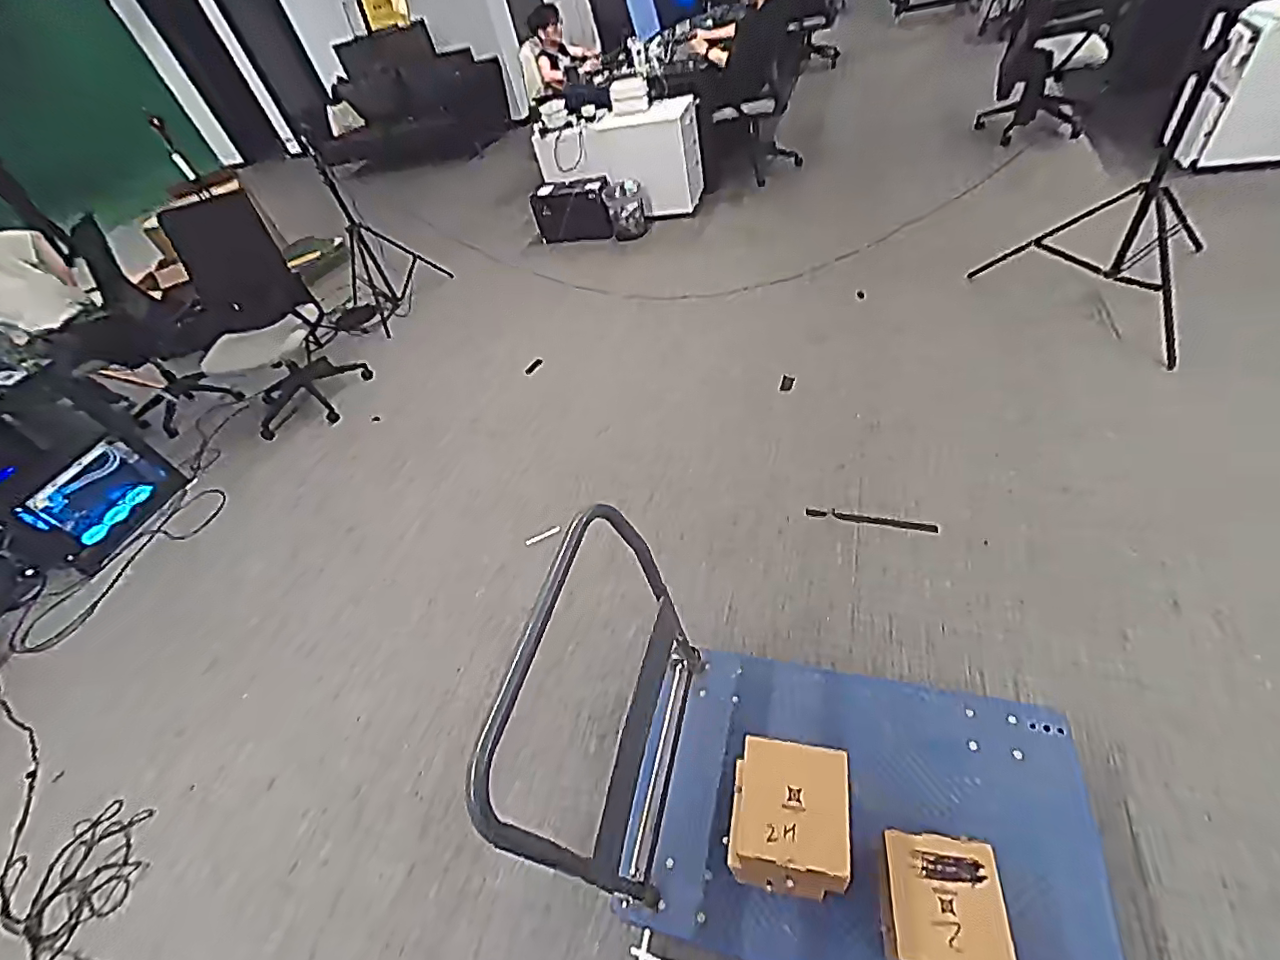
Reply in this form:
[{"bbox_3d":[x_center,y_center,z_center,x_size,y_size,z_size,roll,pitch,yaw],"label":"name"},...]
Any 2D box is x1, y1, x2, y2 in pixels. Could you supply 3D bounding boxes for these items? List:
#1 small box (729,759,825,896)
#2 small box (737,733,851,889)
[{"bbox_3d":[0.266,0.662,1.032,0.168,0.176,0.179,2,49,16],"label":"small box"},{"bbox_3d":[0.258,0.554,0.905,0.168,0.176,0.179,2,49,17],"label":"small box"}]
